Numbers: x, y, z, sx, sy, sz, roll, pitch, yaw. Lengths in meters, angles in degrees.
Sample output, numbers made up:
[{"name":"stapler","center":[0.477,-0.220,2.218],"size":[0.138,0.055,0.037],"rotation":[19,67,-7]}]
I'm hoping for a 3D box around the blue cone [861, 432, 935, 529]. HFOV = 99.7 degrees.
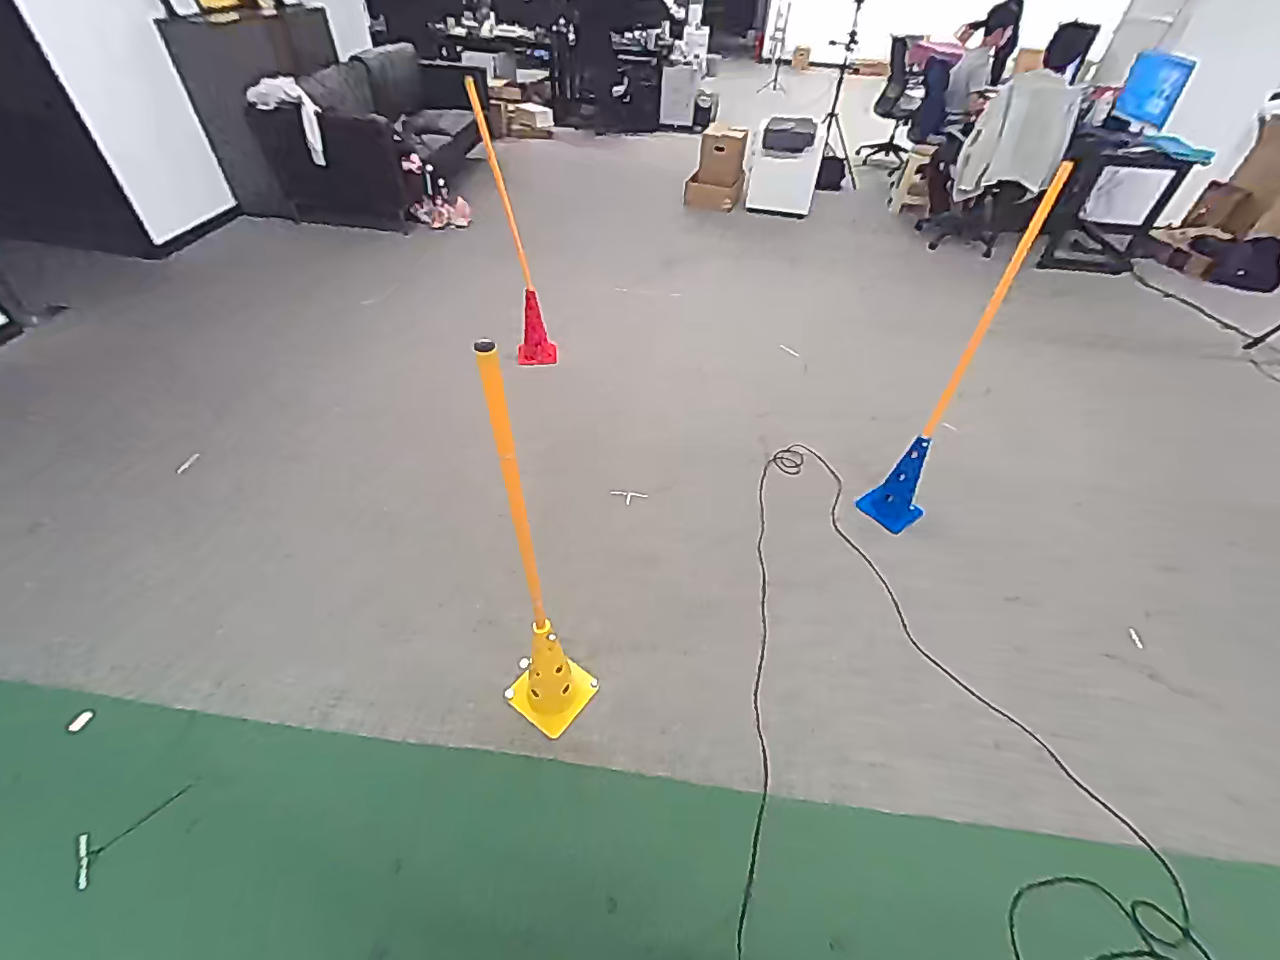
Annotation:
[{"name":"blue cone","center":[0.984,-0.022,1.994],"size":[0.193,0.380,0.192],"rotation":[-26,50,-30]}]
